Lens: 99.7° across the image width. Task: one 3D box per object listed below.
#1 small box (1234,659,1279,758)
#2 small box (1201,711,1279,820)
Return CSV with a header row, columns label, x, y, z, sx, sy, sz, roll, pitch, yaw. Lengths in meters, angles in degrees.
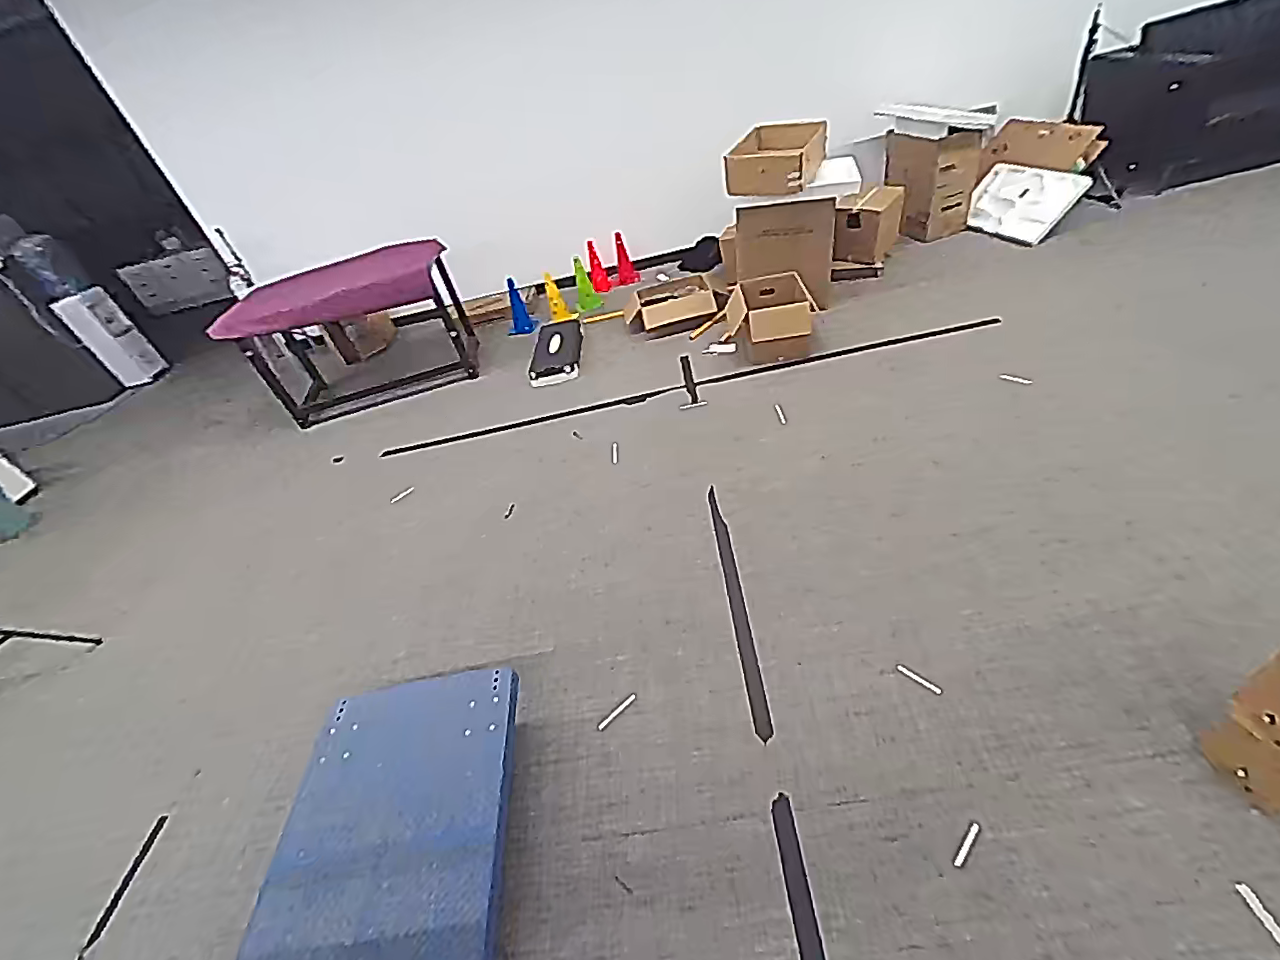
label,x,y,z,sx,sy,sz,roll,pitch,yaw
small box,1.347,0.455,1.050,0.179,0.176,0.168,-11,40,6
small box,1.374,0.583,1.148,0.179,0.176,0.168,-19,39,-4
